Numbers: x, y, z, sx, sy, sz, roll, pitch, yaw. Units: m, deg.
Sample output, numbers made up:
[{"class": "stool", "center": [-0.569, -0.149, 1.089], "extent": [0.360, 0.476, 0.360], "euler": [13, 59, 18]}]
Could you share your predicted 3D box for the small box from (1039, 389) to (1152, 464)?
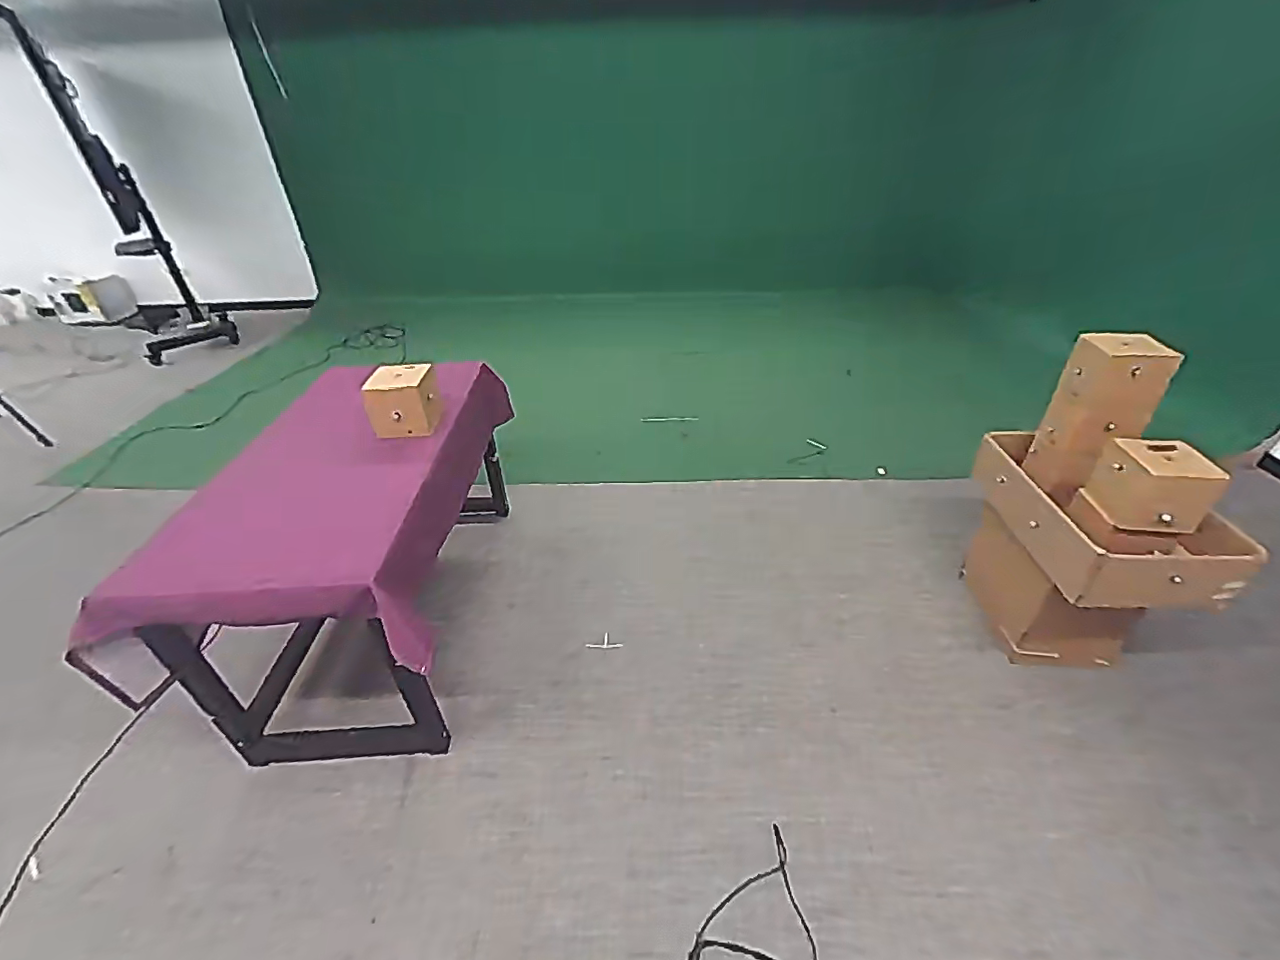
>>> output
[{"class": "small box", "center": [1.350, -0.159, 1.618], "extent": [0.179, 0.176, 0.168], "euler": [3, 35, 8]}]

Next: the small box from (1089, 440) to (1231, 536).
[{"class": "small box", "center": [1.291, 0.018, 1.363], "extent": [0.168, 0.176, 0.179], "euler": [4, 35, 8]}]

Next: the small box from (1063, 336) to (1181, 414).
[{"class": "small box", "center": [1.343, -0.297, 1.528], "extent": [0.179, 0.176, 0.168], "euler": [4, 36, 8]}]

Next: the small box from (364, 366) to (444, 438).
[{"class": "small box", "center": [-0.728, -0.240, 1.691], "extent": [0.168, 0.176, 0.179], "euler": [-3, 35, -2]}]
